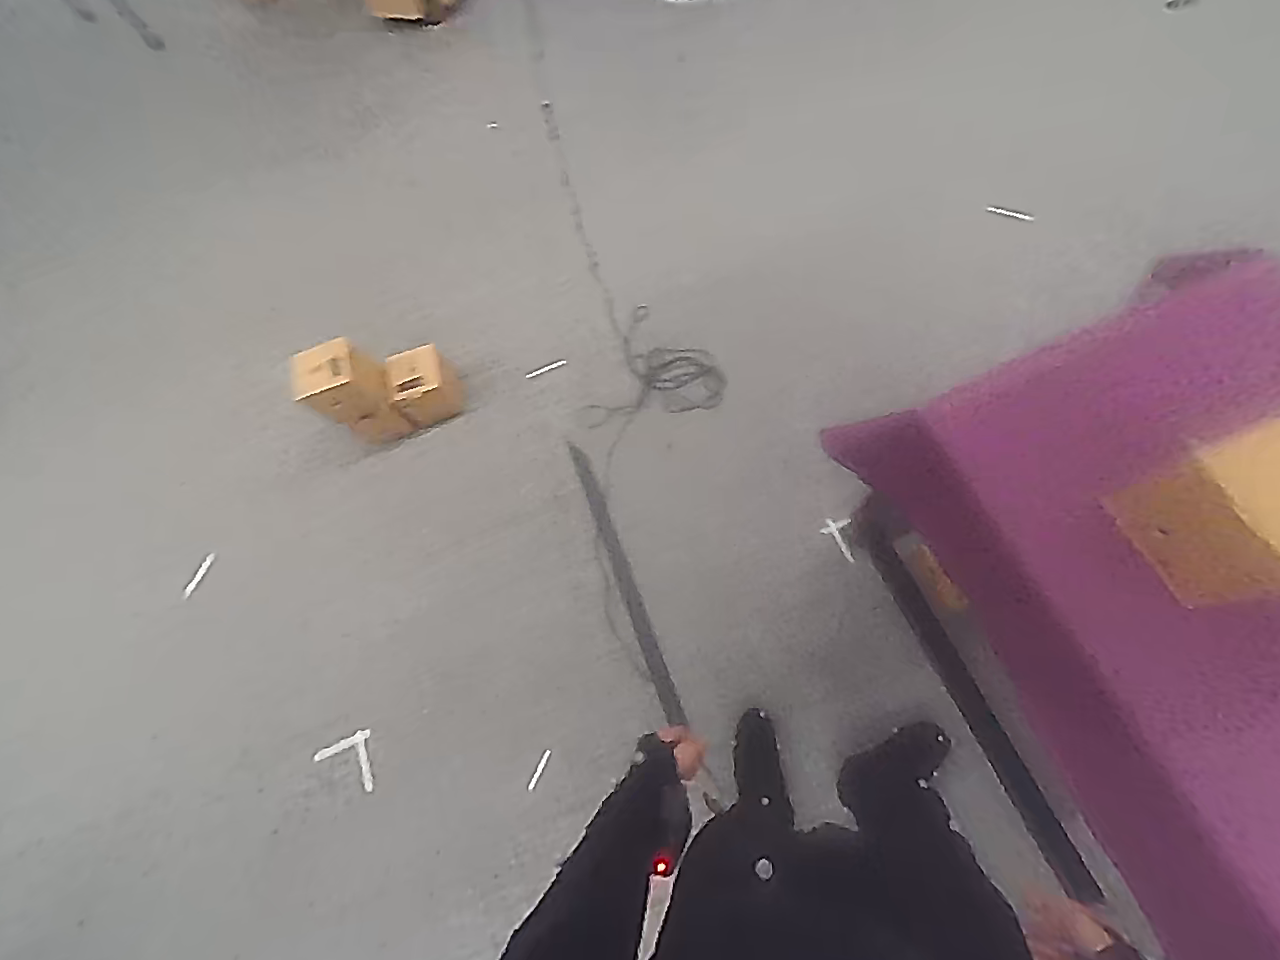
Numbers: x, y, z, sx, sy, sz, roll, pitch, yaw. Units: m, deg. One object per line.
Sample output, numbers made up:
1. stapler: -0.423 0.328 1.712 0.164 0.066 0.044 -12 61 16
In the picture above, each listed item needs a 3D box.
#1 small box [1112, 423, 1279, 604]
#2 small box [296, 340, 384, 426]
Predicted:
1. small box: 0.747 0.037 0.653 0.179 0.176 0.168 -24 69 1
2. small box: -0.901 -0.290 1.642 0.179 0.176 0.168 -19 68 4
